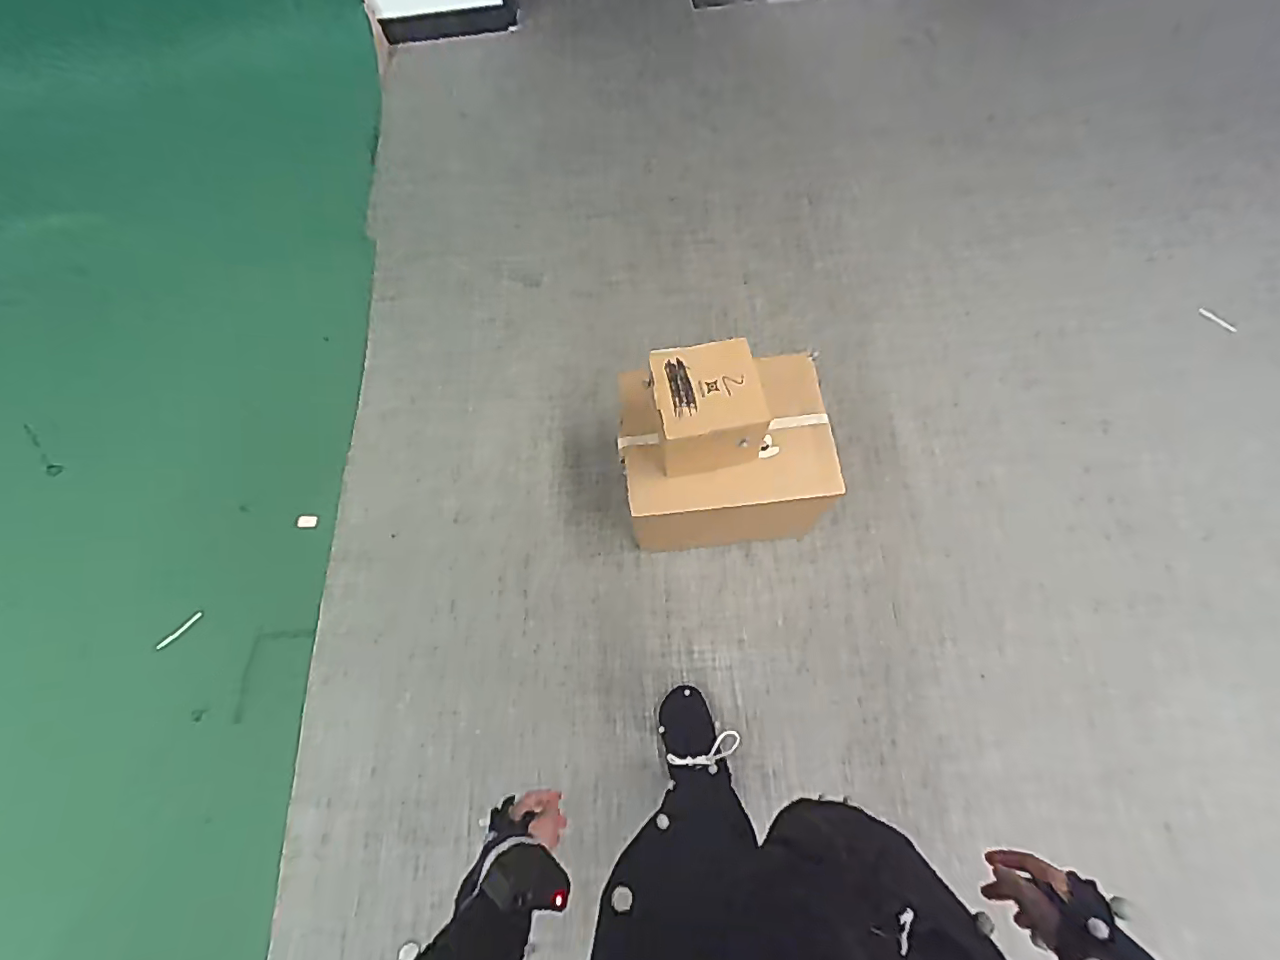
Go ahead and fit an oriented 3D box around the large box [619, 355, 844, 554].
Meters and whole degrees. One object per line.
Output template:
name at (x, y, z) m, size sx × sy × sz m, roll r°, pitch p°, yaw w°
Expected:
large box at (0.176, -0.040, 1.201) m, size 0.408 × 0.320 × 0.320 m, roll -6°, pitch 70°, yaw 1°
